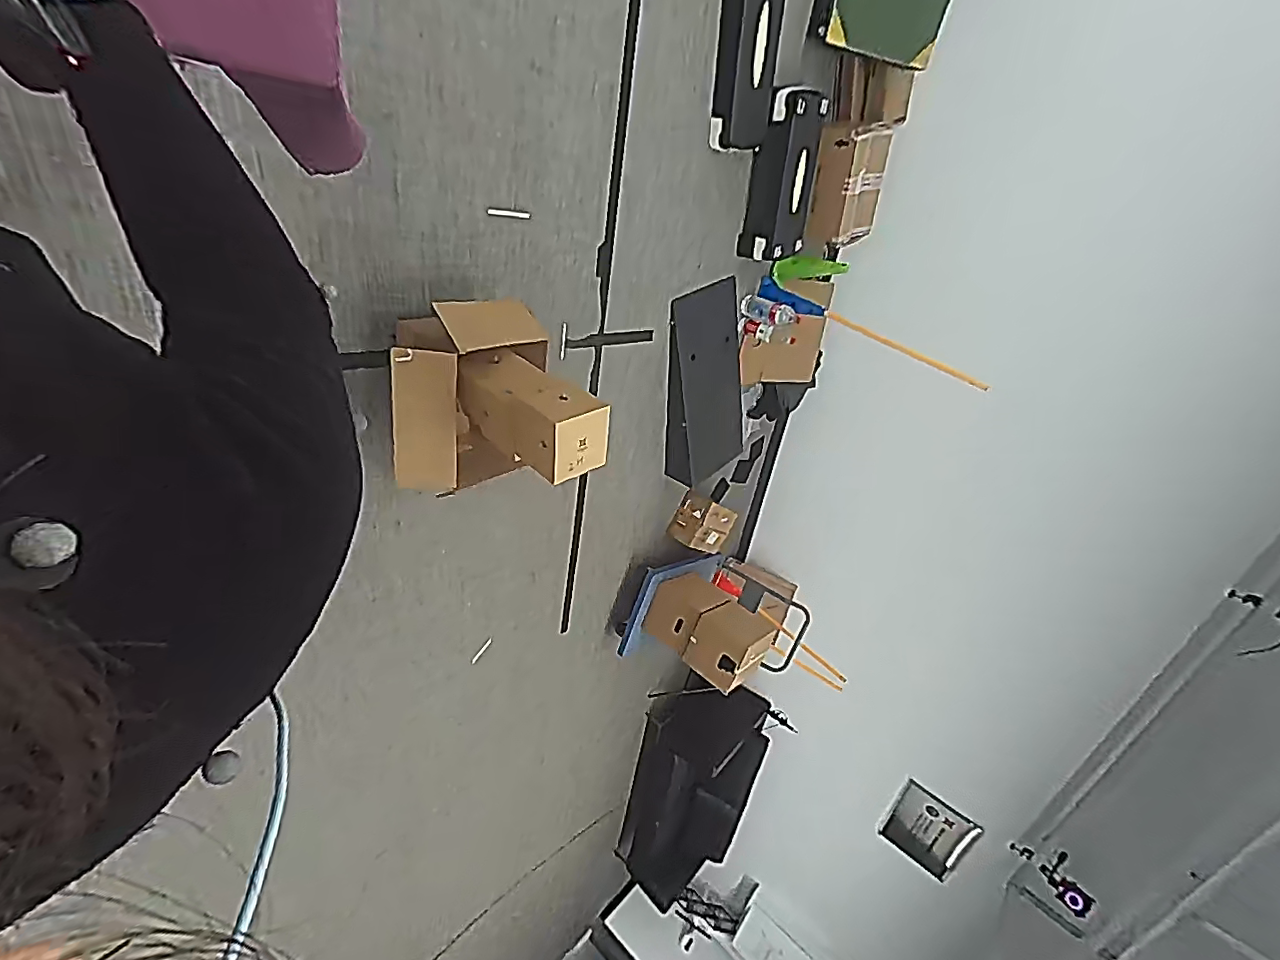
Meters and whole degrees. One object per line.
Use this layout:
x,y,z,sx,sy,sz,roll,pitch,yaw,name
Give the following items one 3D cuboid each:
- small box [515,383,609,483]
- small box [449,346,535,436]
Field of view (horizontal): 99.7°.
-0.198,-0.126,1.341,0.168,0.176,0.179,-25,137,-38,small box
-0.418,-0.263,1.547,0.168,0.176,0.179,-37,144,-28,small box
